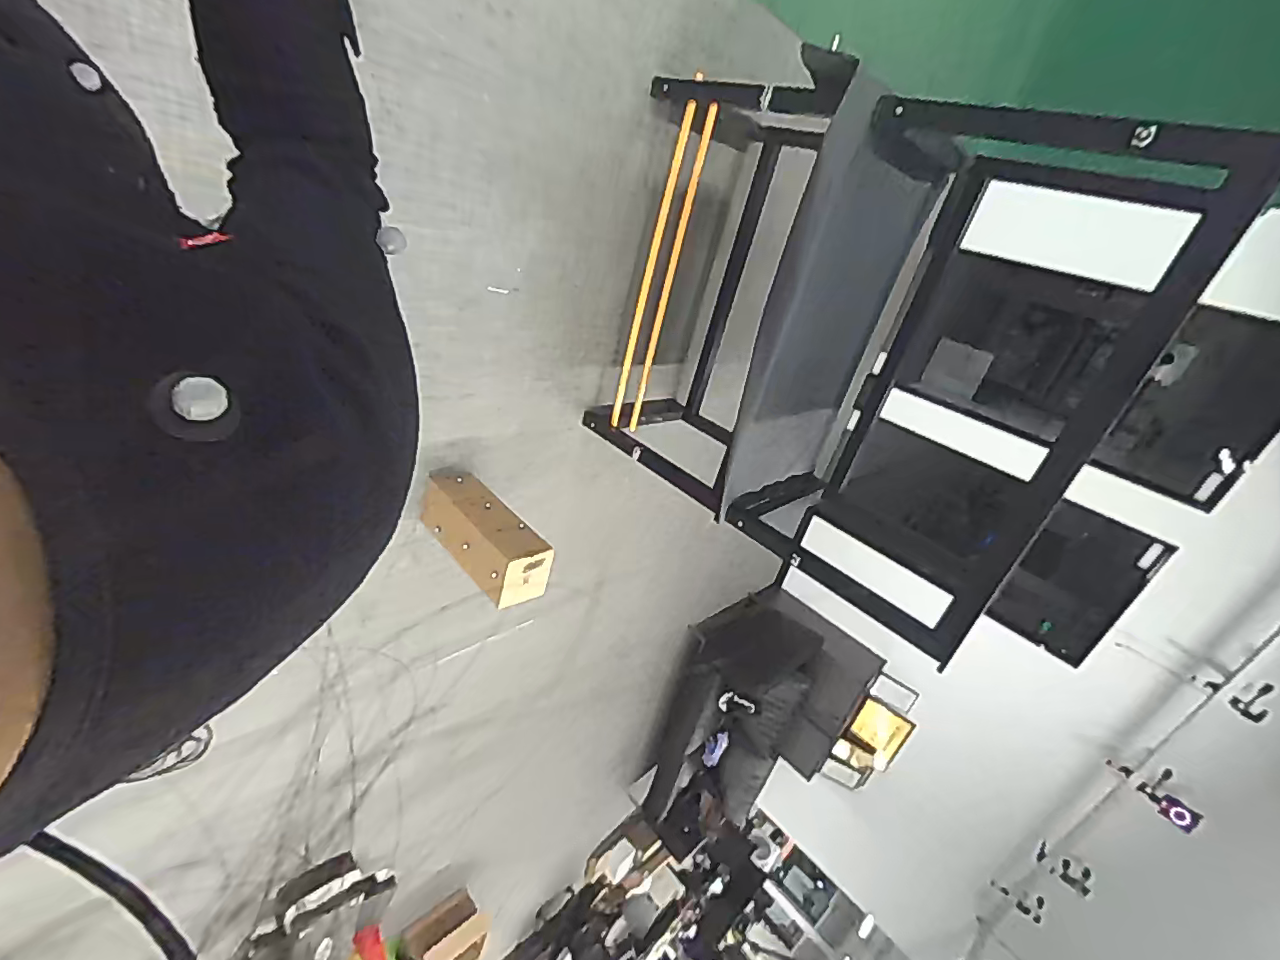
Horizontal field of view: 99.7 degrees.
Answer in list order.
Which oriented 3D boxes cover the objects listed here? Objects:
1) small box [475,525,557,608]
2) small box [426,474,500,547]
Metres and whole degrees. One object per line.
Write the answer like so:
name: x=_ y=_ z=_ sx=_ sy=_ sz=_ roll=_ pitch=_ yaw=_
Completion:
small box: x=-0.383 y=0.253 z=1.649 sx=0.168 sy=0.176 sz=0.179 roll=-9 pitch=126 yaw=-46
small box: x=-0.606 y=0.098 z=1.831 sx=0.168 sy=0.176 sz=0.179 roll=-8 pitch=124 yaw=-48
